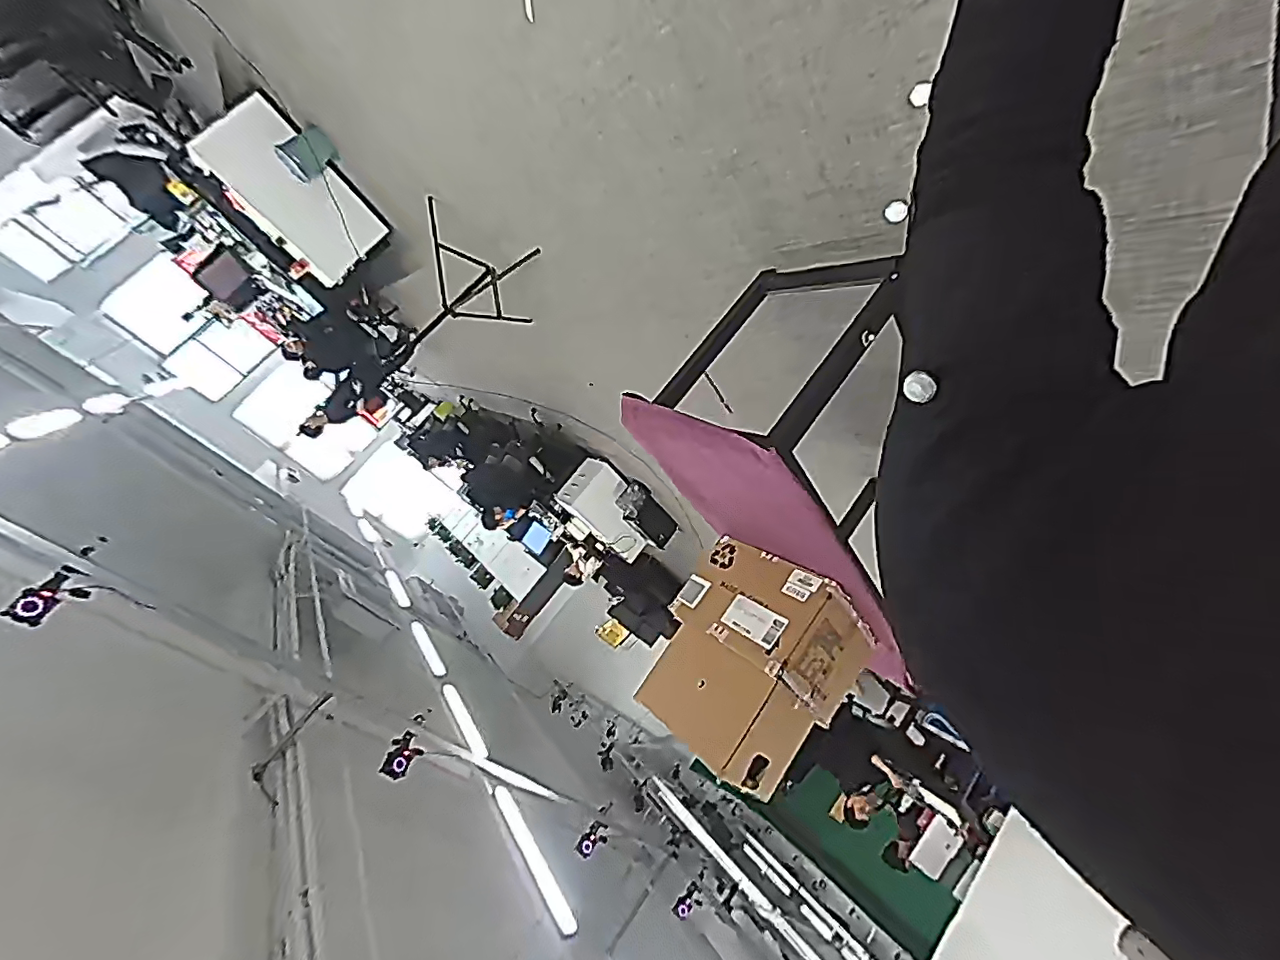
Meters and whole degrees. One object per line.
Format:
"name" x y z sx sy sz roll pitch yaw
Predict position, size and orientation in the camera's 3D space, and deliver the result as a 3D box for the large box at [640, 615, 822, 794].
"large box" 0.282 0.691 1.710 0.320 0.320 0.408 43 167 -35
